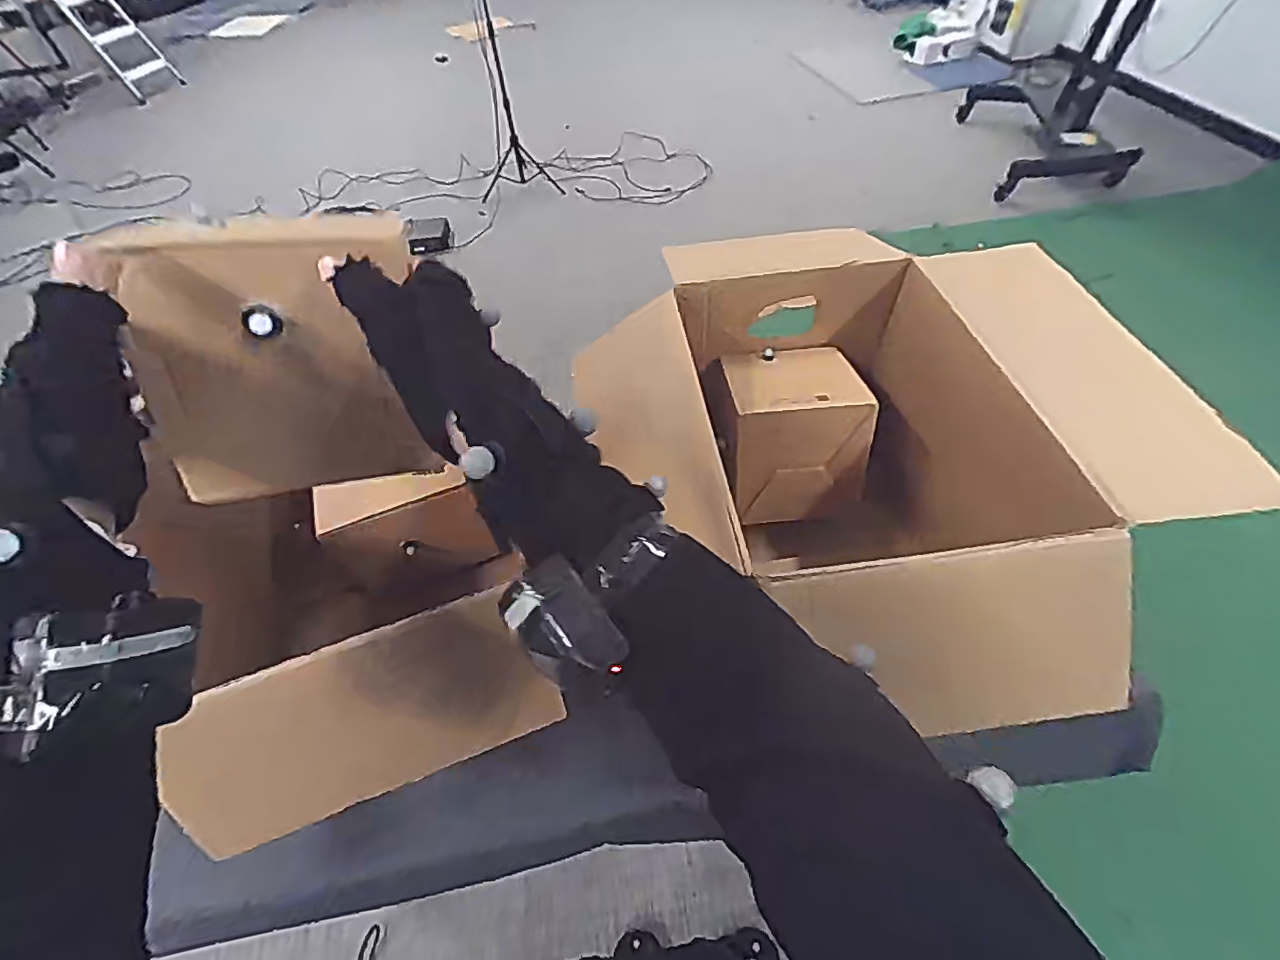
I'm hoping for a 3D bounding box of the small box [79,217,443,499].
[{"bbox_3d":[-0.255,-0.108,0.424,0.176,0.168,0.179,-8,31,-17],"label":"small box"}]
